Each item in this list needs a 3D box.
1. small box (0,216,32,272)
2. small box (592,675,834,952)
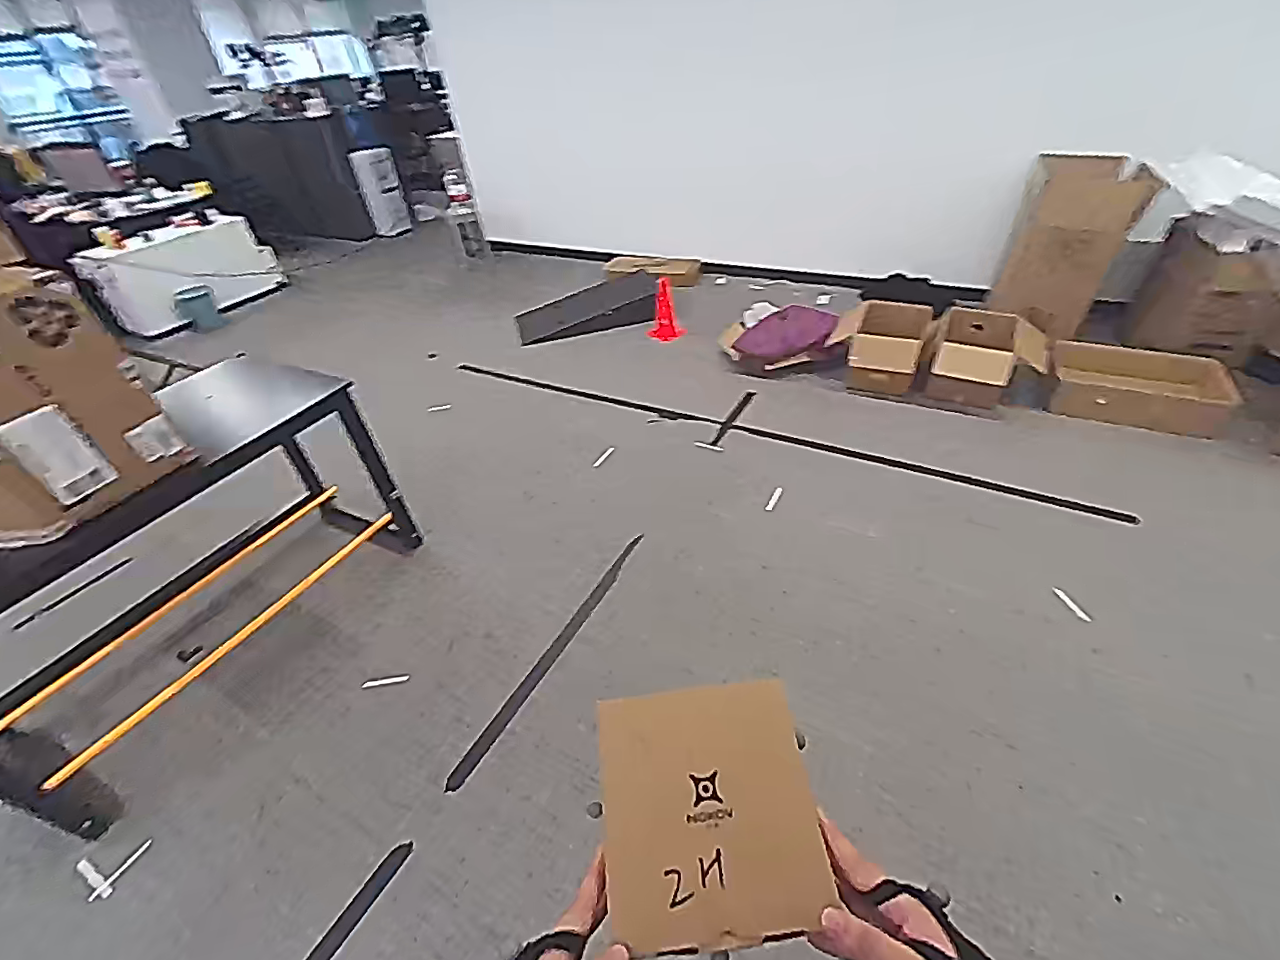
[{"bbox_3d":[-1.521,-0.541,1.185,0.179,0.176,0.168,13,40,22],"label":"small box"},{"bbox_3d":[0.049,0.300,0.487,0.168,0.176,0.179,-7,51,-2],"label":"small box"}]
